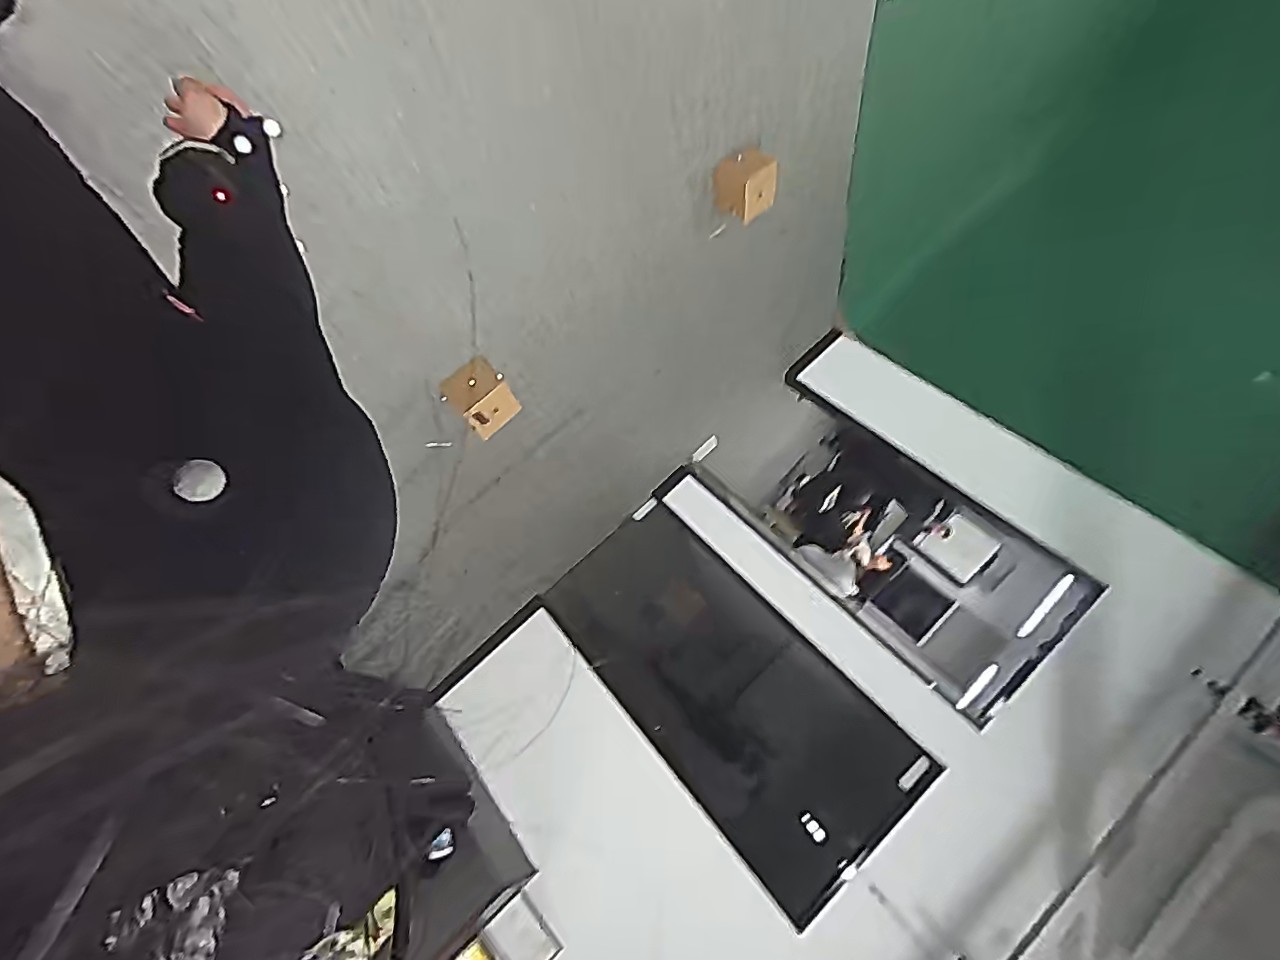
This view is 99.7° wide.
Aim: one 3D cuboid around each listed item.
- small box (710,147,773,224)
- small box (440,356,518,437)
[{"bbox_3d":[0.381,-1.120,2.055,0.168,0.176,0.179,-39,152,-14],"label":"small box"},{"bbox_3d":[-0.562,-0.290,1.863,0.179,0.176,0.168,-41,153,-11],"label":"small box"}]
